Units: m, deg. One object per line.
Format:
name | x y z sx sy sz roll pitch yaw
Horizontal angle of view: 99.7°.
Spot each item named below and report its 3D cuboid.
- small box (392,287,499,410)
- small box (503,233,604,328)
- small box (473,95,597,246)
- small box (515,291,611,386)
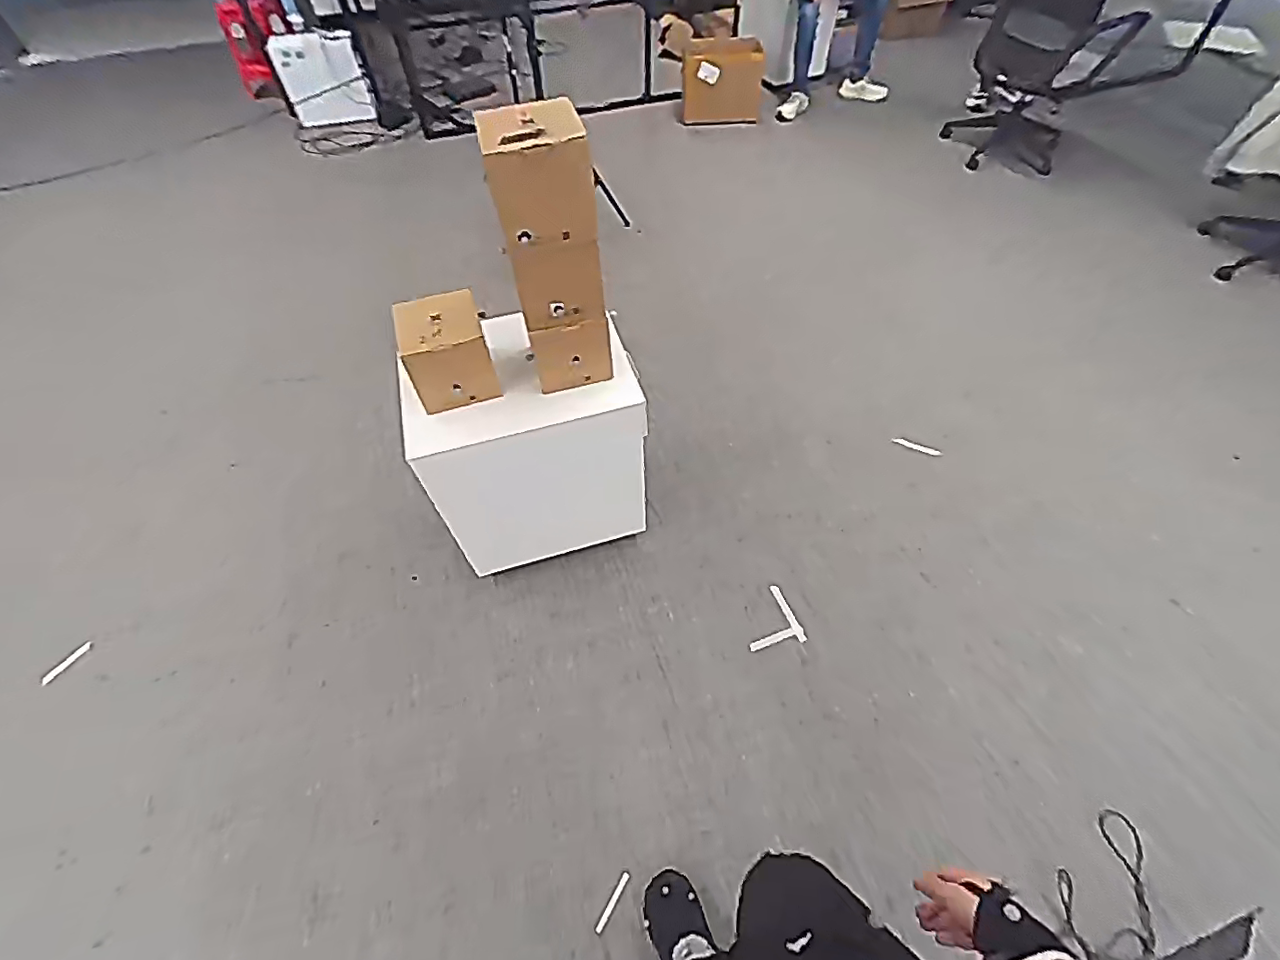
small box | -0.415 -0.280 1.163 0.168 0.176 0.179 -17 56 -10
small box | -0.173 -0.429 1.064 0.168 0.176 0.179 -15 56 -7
small box | -0.176 -0.522 0.928 0.168 0.176 0.179 -14 54 -6
small box | -0.166 -0.328 1.192 0.168 0.176 0.179 -15 57 -7
